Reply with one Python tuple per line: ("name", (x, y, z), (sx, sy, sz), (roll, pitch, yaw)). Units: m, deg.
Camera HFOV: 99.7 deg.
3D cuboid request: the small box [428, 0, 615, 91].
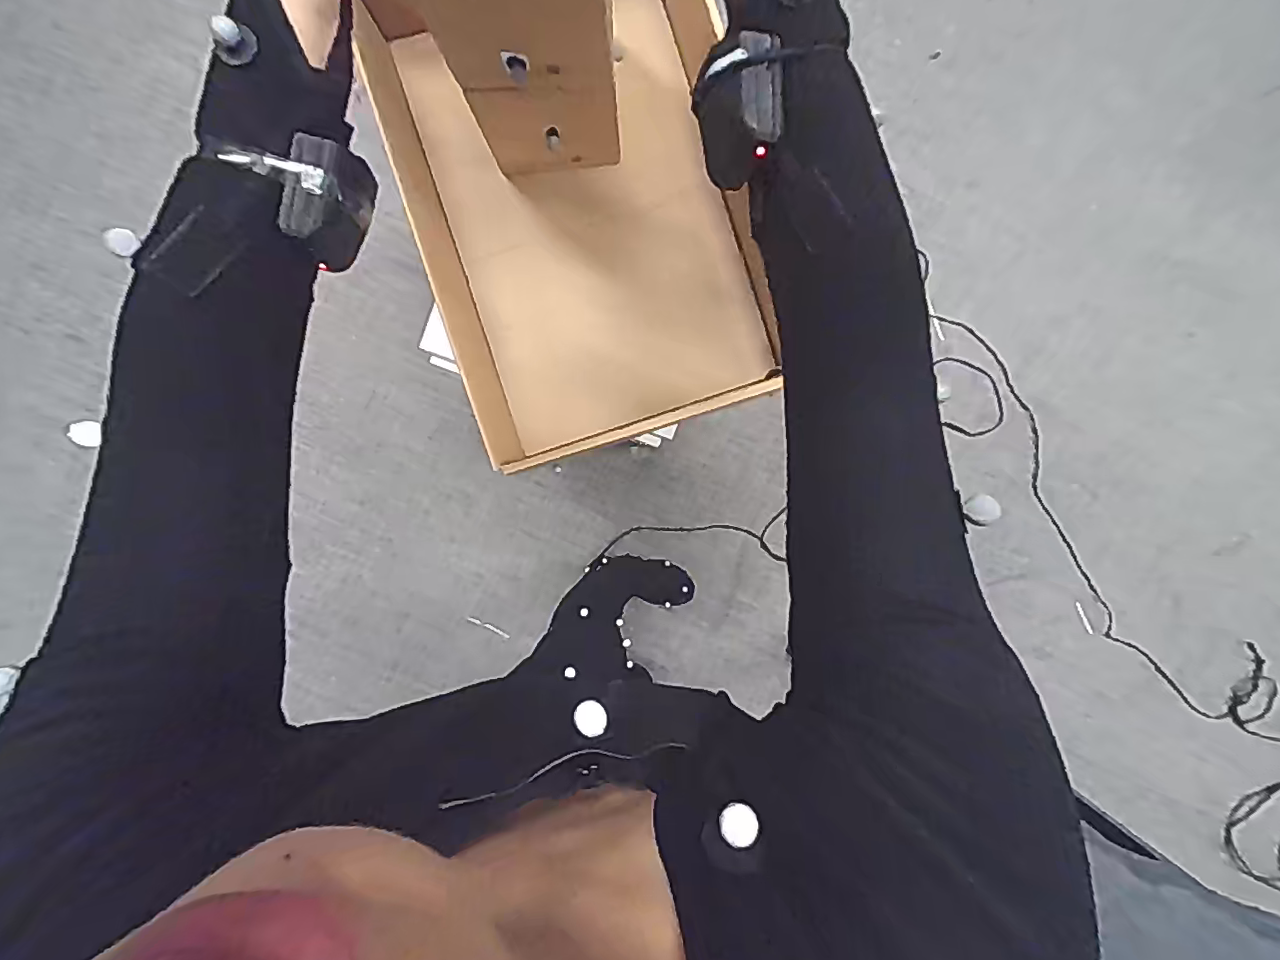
("small box", (-0.112, -0.501, 0.492), (0.168, 0.176, 0.179), (-2, 93, 3))
